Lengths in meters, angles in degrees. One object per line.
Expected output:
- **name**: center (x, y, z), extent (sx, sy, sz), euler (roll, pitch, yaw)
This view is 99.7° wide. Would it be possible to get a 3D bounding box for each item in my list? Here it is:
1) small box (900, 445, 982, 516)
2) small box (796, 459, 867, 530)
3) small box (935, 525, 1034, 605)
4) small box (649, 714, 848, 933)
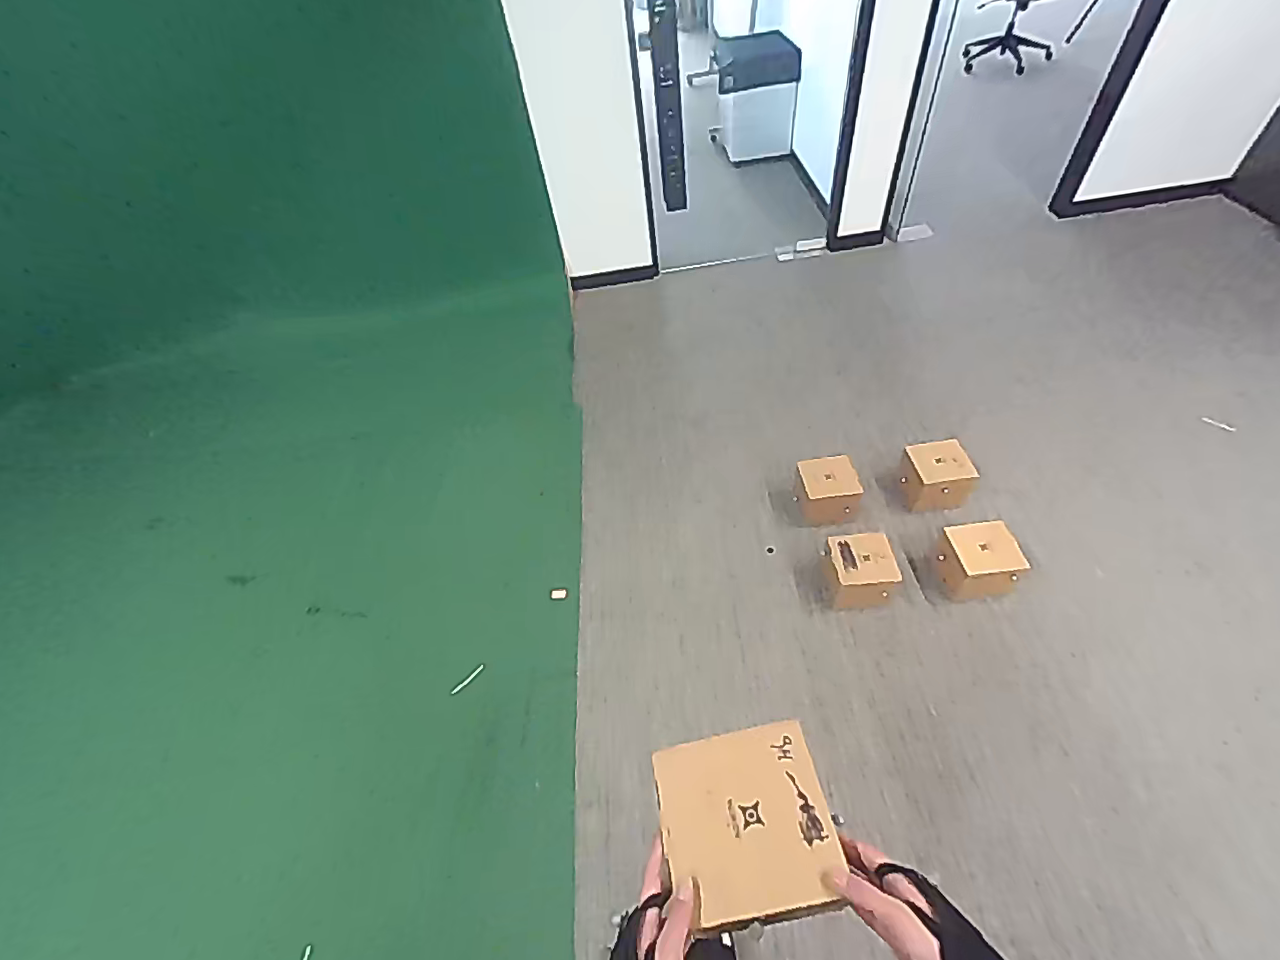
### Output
- **small box**: center (0.994, 0.005, 1.809), extent (0.179, 0.176, 0.168), euler (-7, 50, 3)
- **small box**: center (0.639, 0.053, 1.827), extent (0.179, 0.176, 0.168), euler (-7, 49, 4)
- **small box**: center (1.006, 0.257, 1.604), extent (0.179, 0.176, 0.168), euler (-7, 50, 2)
- **small box**: center (0.120, 0.395, 0.617), extent (0.179, 0.176, 0.168), euler (-14, 46, 4)
